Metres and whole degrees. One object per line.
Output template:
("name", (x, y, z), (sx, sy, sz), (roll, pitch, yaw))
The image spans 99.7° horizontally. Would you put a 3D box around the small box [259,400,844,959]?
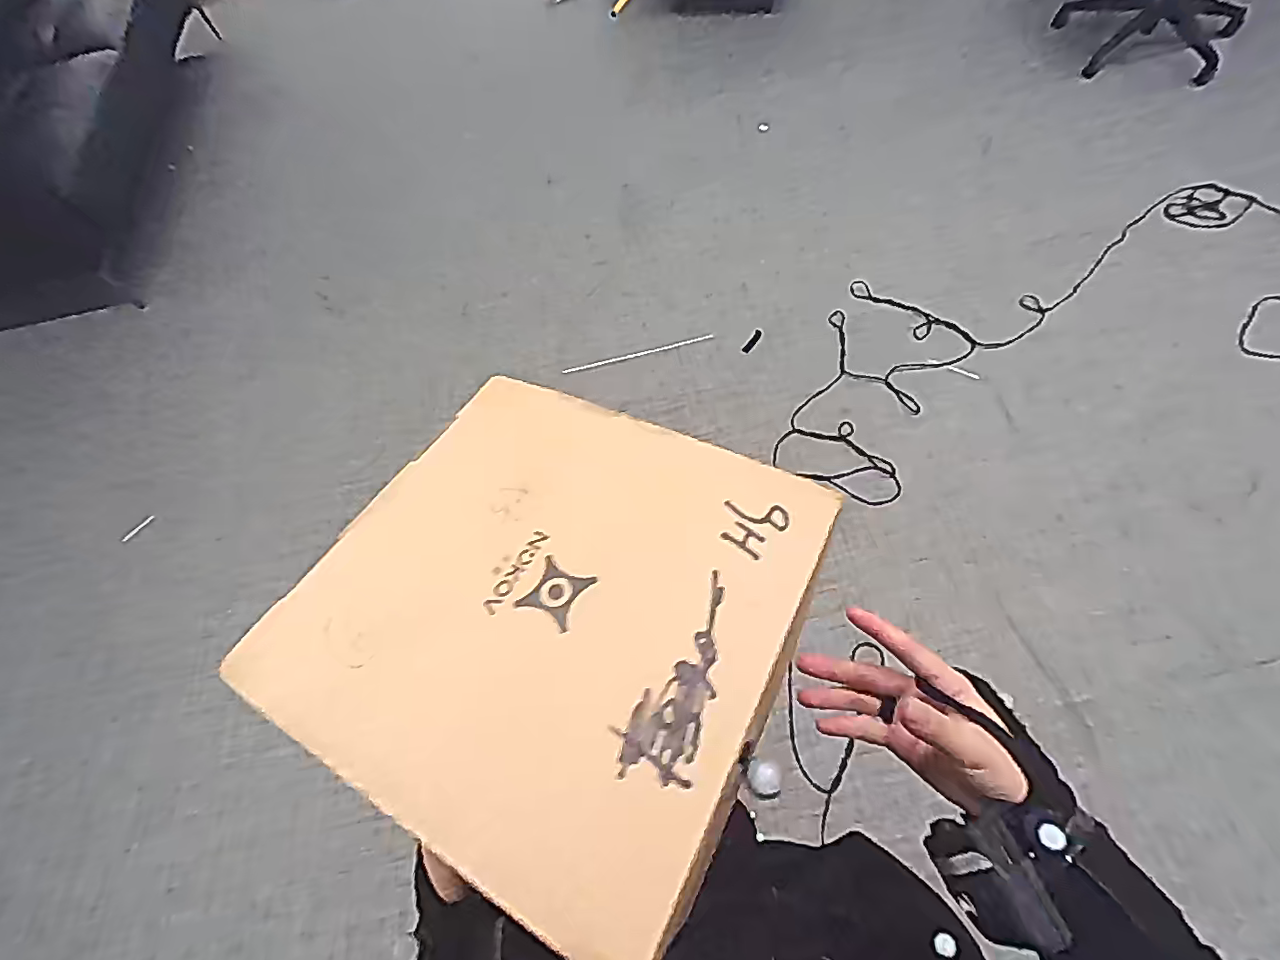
("small box", (-0.022, 0.093, 0.271), (0.179, 0.176, 0.168), (20, 61, 22))
